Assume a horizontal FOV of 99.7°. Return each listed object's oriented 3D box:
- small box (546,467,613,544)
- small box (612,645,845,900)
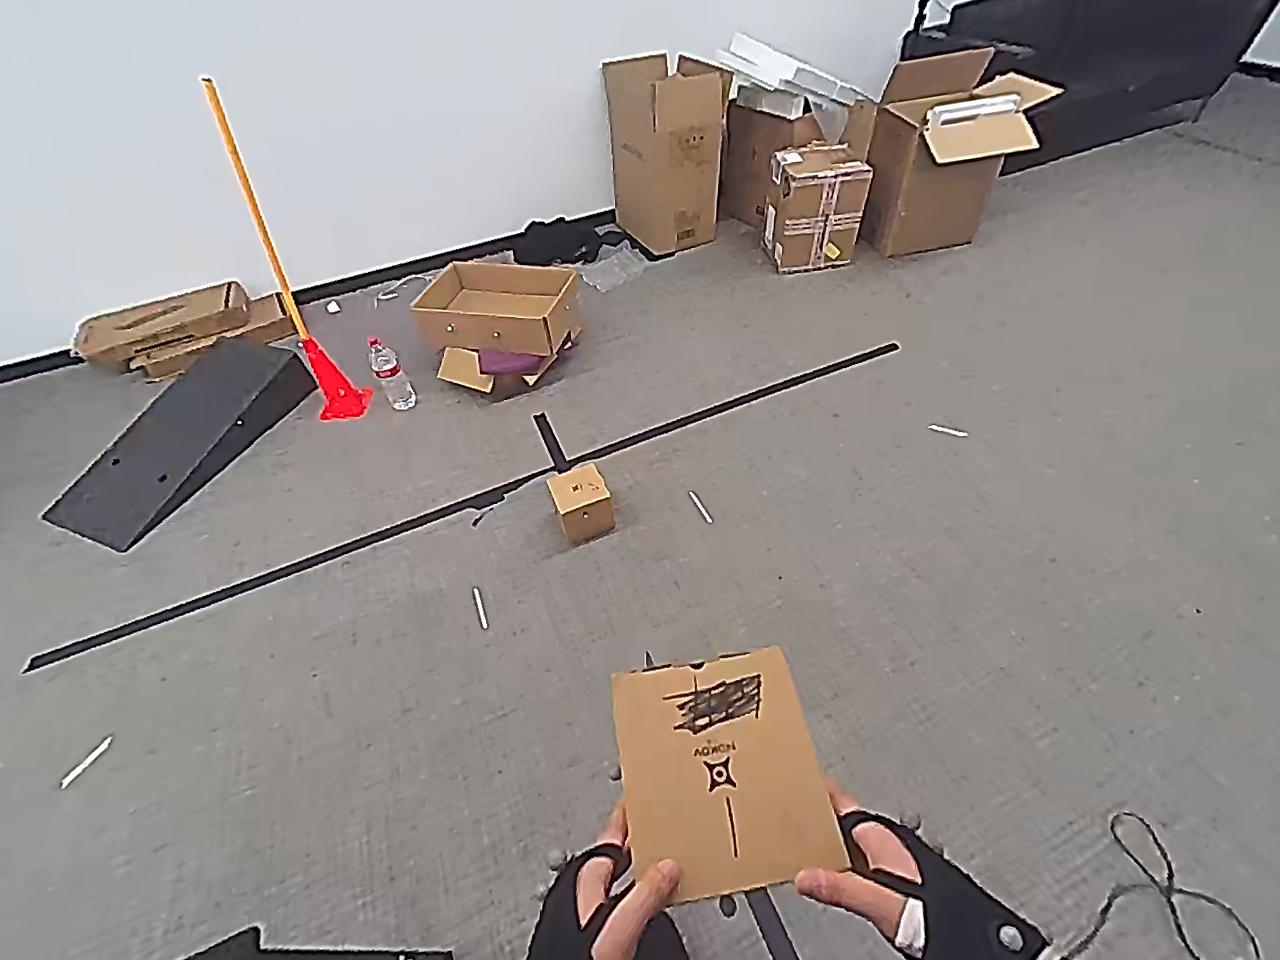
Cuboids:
[{"bbox_3d":[-0.203,0.090,1.837,0.179,0.176,0.168,-19,50,-13],"label":"small box"},{"bbox_3d":[0.066,0.282,0.519,0.168,0.176,0.179,-8,53,-4],"label":"small box"}]
